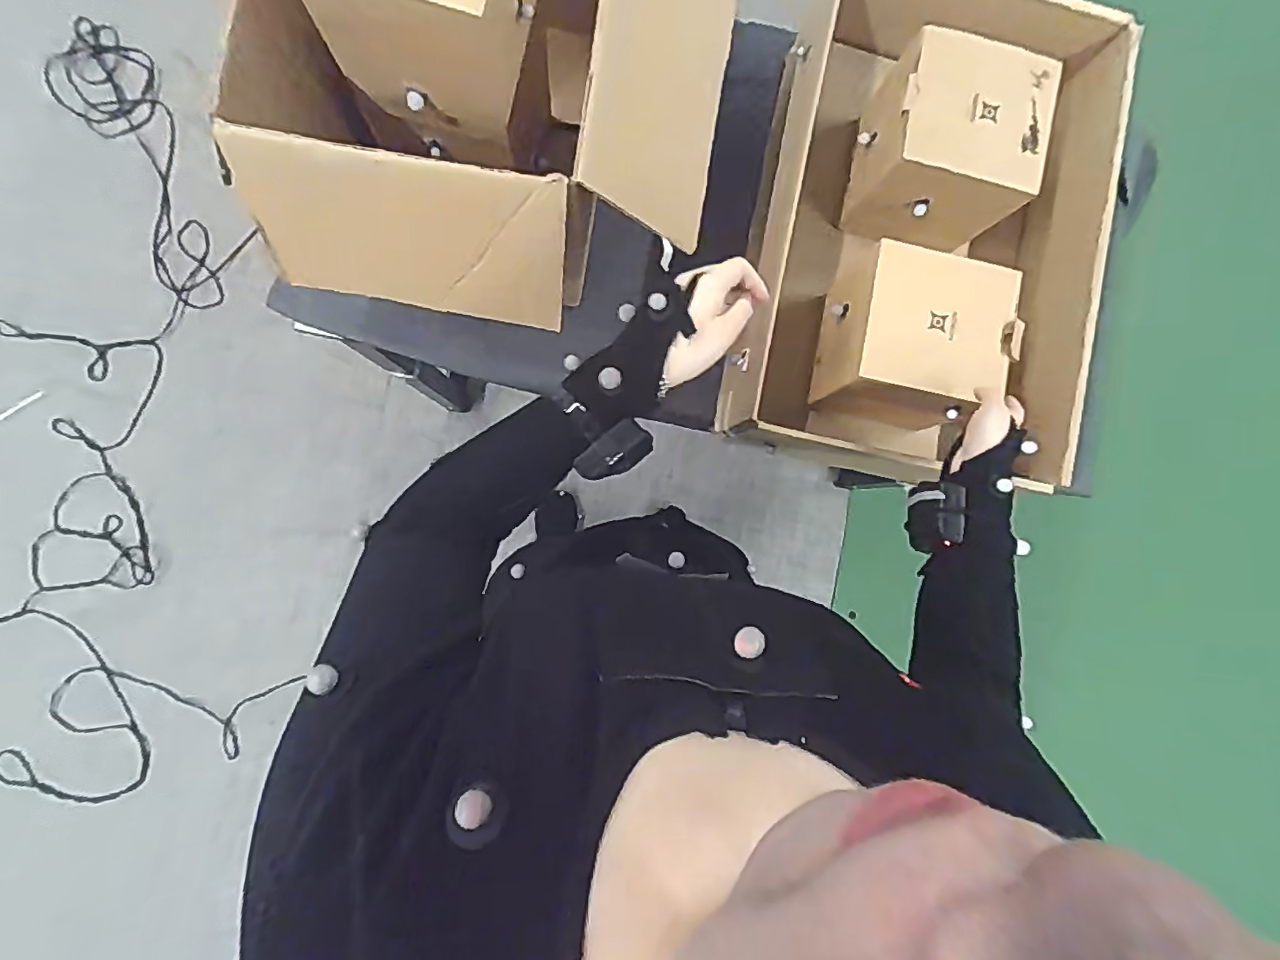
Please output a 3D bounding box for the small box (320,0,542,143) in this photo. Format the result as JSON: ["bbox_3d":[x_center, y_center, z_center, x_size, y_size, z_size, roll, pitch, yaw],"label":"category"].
[{"bbox_3d":[-0.194,-0.476,0.518,0.168,0.176,0.179,14,89,-5],"label":"small box"}]
